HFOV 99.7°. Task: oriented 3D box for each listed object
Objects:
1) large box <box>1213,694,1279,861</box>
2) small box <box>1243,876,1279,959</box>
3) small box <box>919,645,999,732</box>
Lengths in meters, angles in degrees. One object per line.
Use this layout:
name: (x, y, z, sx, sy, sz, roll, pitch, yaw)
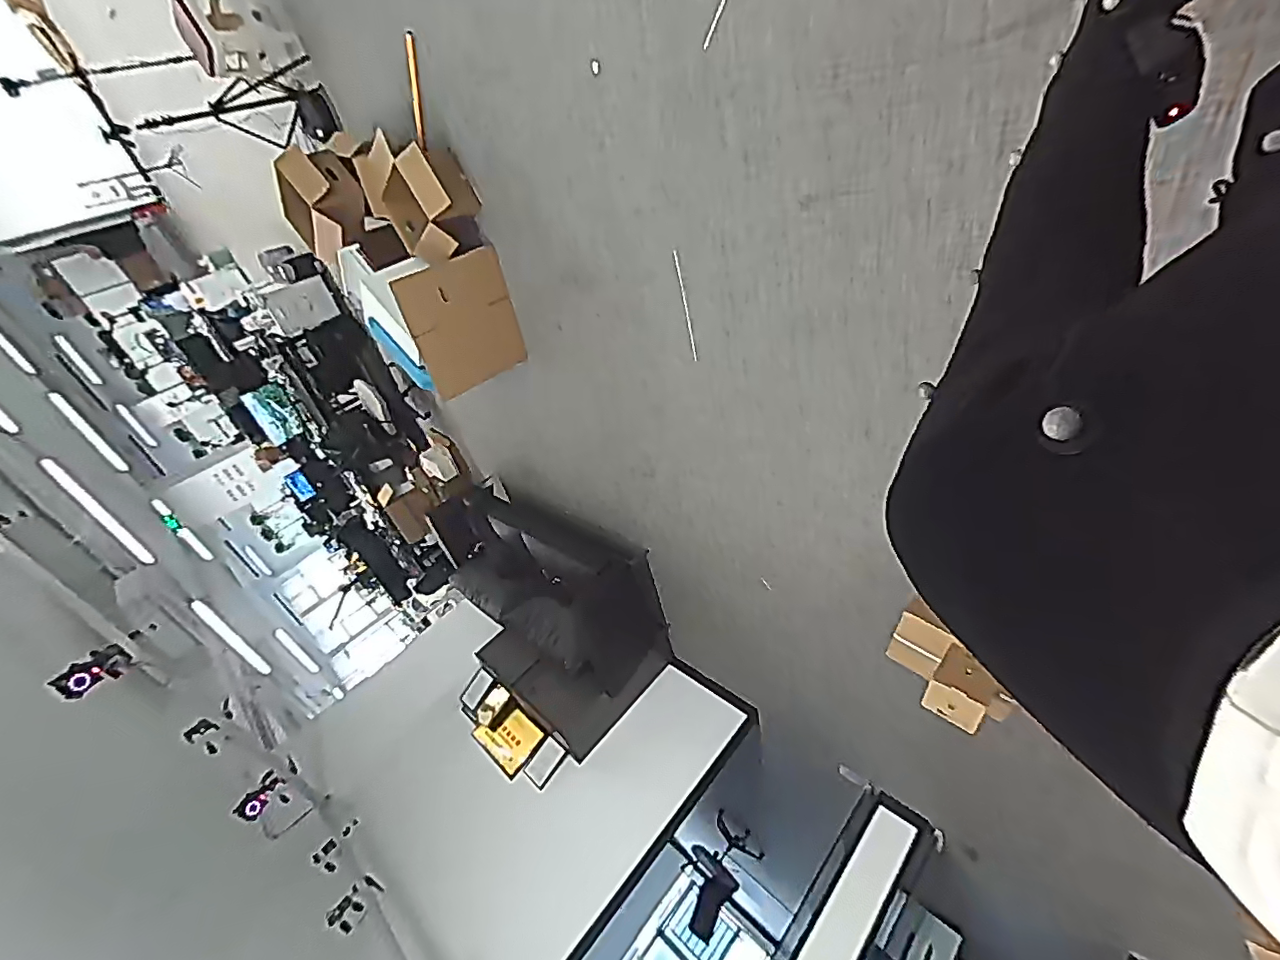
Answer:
large box: (1.819, 0.790, 1.382, 0.320, 0.320, 0.408, 54, 149, -8)
small box: (1.538, 1.069, 1.242, 0.179, 0.176, 0.168, -9, 116, 56)
small box: (1.056, 0.682, 1.787, 0.168, 0.176, 0.179, 26, 140, 36)
